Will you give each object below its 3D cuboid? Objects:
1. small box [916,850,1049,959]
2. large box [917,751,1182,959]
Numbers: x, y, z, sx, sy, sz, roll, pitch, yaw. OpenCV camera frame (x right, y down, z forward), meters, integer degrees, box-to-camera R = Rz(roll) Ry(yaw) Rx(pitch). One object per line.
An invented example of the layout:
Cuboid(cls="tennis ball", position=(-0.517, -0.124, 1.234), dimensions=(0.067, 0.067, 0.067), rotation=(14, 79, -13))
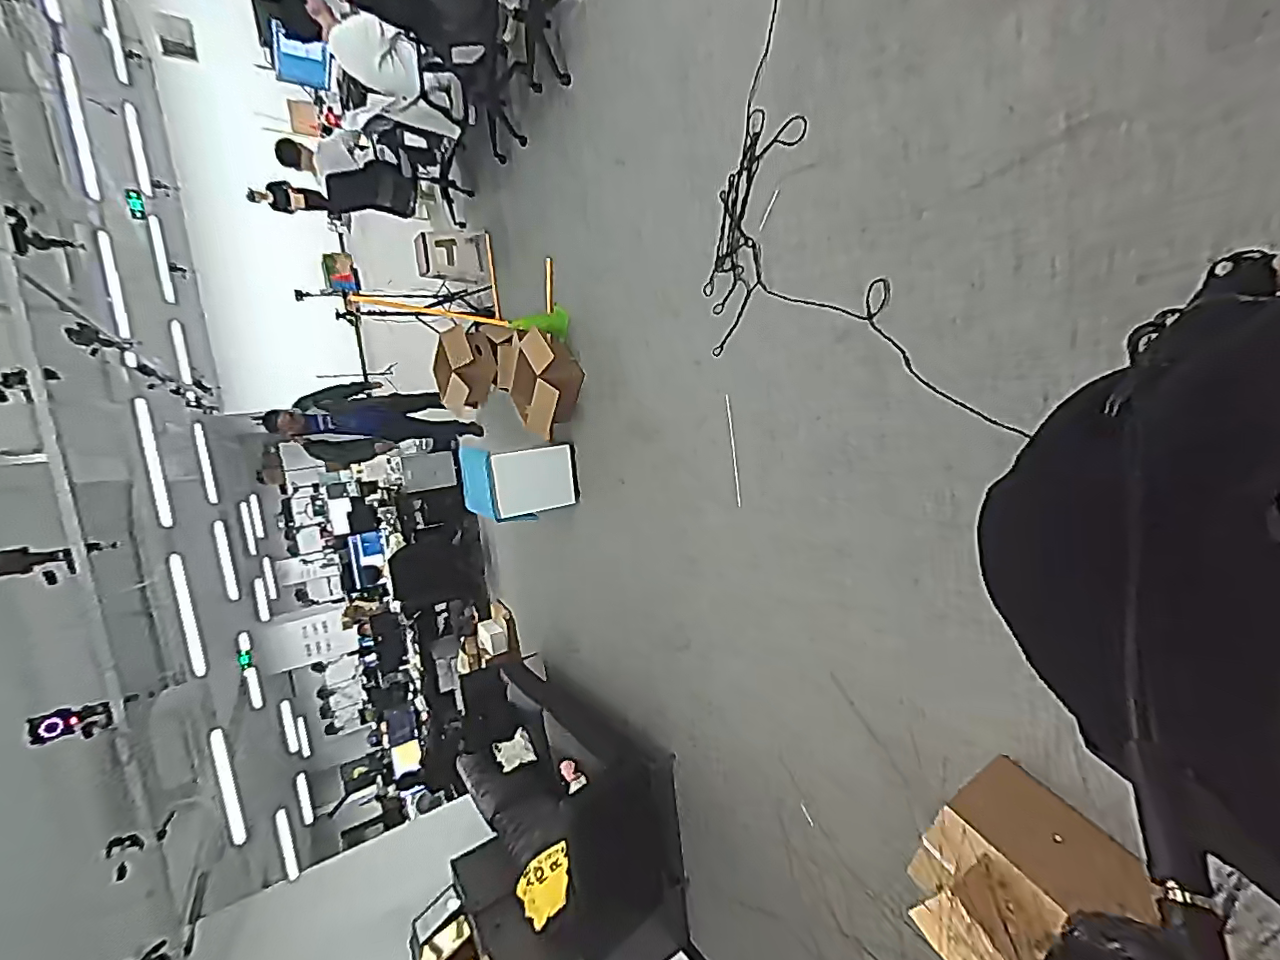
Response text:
Cuboid(cls="small box", position=(0.803, 1.018, 1.268), dimensions=(0.168, 0.176, 0.179), rotation=(51, 138, 38))
Cuboid(cls="large box", position=(1.020, 1.005, 1.385), dimensions=(0.408, 0.320, 0.320), rotation=(37, 130, 46))
